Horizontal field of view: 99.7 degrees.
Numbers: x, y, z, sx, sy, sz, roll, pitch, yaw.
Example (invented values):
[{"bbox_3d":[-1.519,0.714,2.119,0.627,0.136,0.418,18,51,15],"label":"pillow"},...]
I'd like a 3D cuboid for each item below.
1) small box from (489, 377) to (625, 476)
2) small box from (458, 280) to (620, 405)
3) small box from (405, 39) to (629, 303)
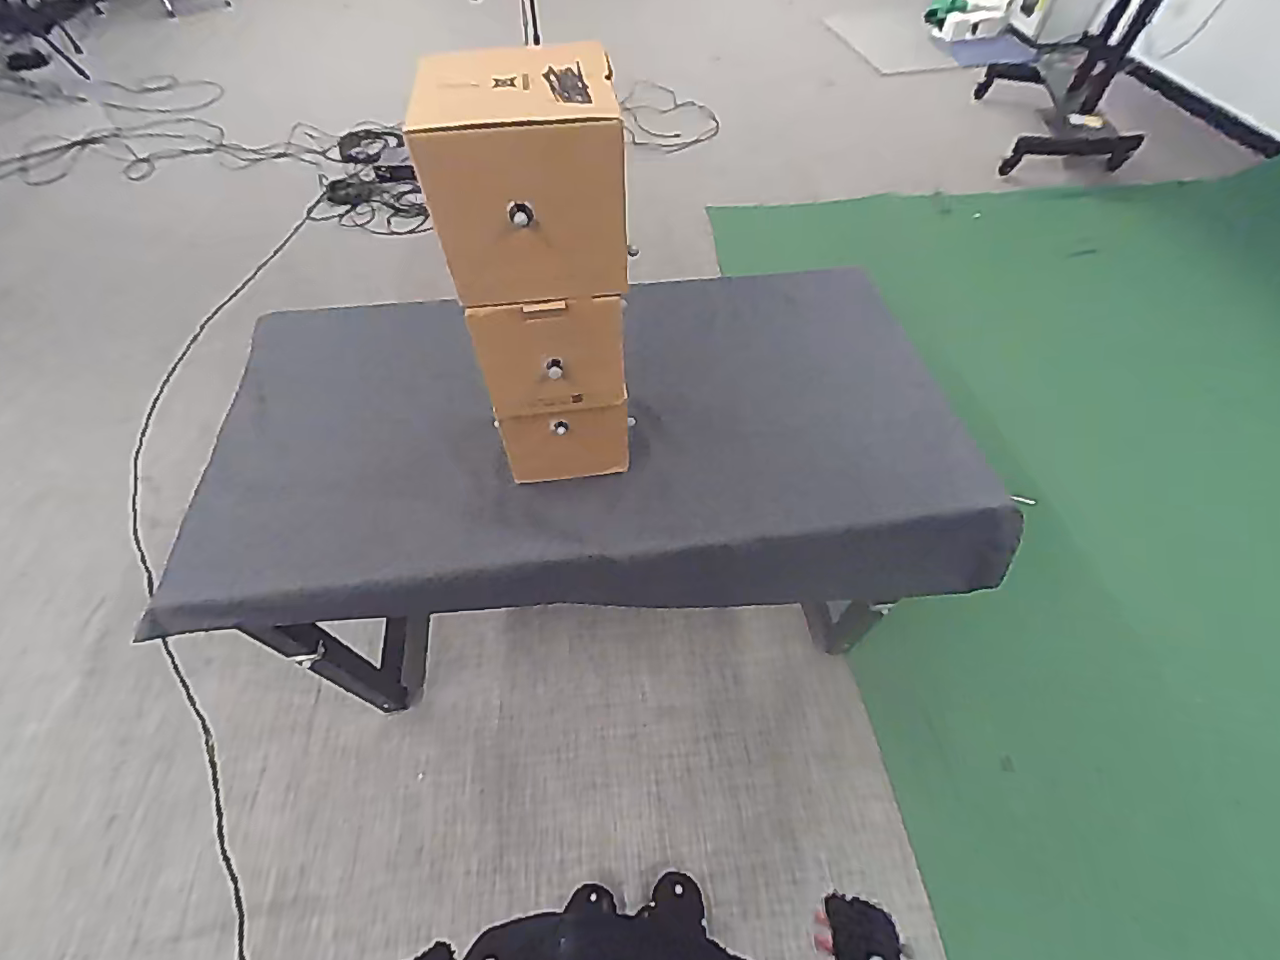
[{"bbox_3d":[-0.118,-0.120,0.807,0.179,0.176,0.168,-6,57,-6],"label":"small box"},{"bbox_3d":[-0.117,-0.207,0.668,0.168,0.176,0.179,-7,57,-5],"label":"small box"},{"bbox_3d":[-0.110,-0.297,0.530,0.179,0.176,0.168,-8,56,-7],"label":"small box"}]
